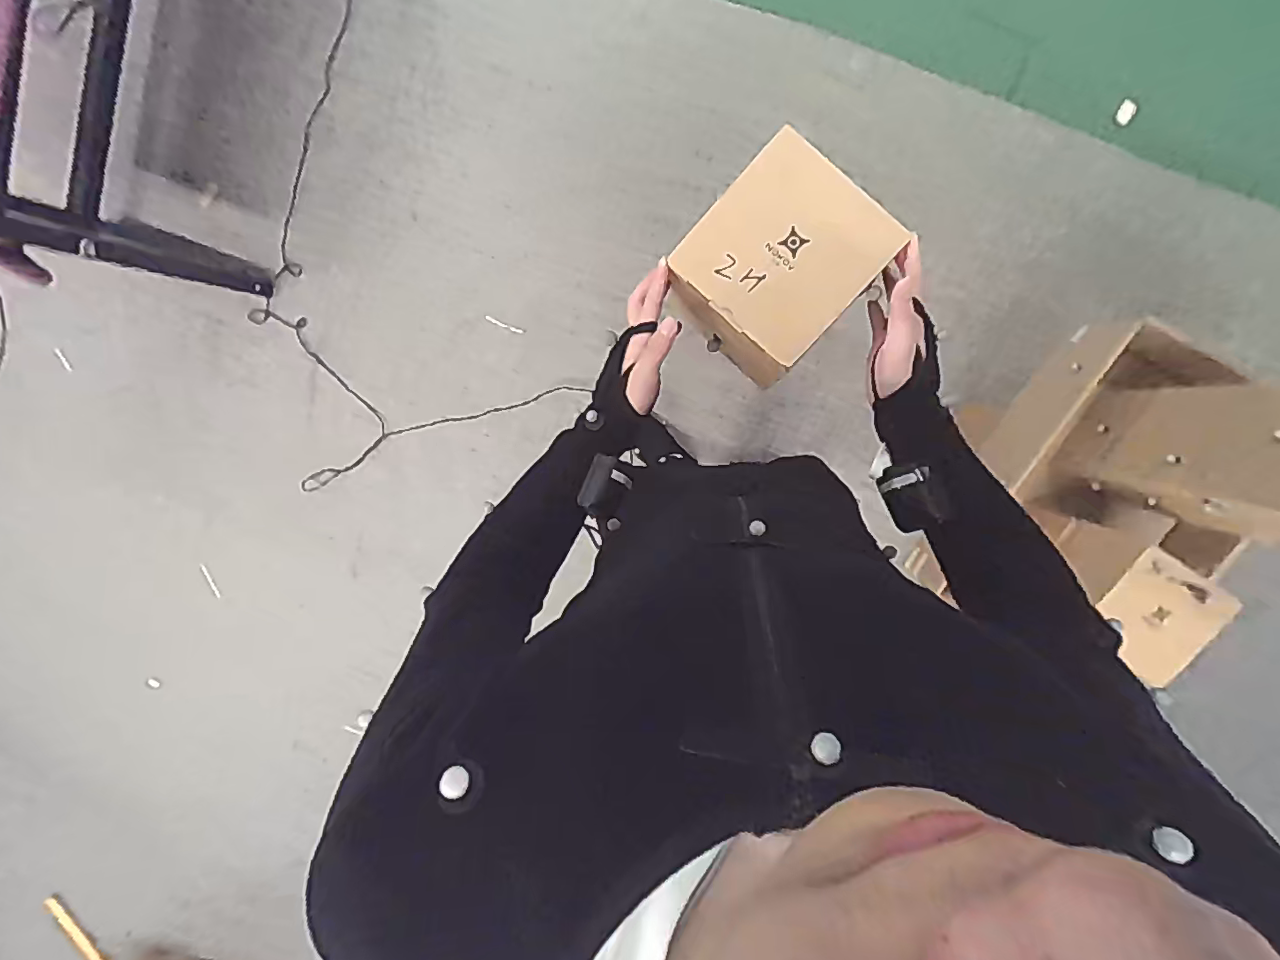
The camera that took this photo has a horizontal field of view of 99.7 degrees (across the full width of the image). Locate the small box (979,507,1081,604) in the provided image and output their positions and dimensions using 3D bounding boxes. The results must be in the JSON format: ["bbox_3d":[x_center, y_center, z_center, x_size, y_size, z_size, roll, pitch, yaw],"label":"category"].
[{"bbox_3d":[0.820,0.170,1.065,0.179,0.176,0.168,35,103,2],"label":"small box"}]

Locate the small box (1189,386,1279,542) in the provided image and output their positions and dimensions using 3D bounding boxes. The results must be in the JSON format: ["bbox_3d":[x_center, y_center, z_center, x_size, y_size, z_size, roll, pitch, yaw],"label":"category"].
[{"bbox_3d":[0.880,-0.008,0.690,0.168,0.176,0.179,30,103,2],"label":"small box"}]

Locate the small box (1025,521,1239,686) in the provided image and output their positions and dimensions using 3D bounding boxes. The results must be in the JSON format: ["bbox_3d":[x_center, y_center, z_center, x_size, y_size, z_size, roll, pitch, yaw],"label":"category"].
[{"bbox_3d":[0.796,0.196,0.905,0.168,0.176,0.179,34,104,2],"label":"small box"}]
